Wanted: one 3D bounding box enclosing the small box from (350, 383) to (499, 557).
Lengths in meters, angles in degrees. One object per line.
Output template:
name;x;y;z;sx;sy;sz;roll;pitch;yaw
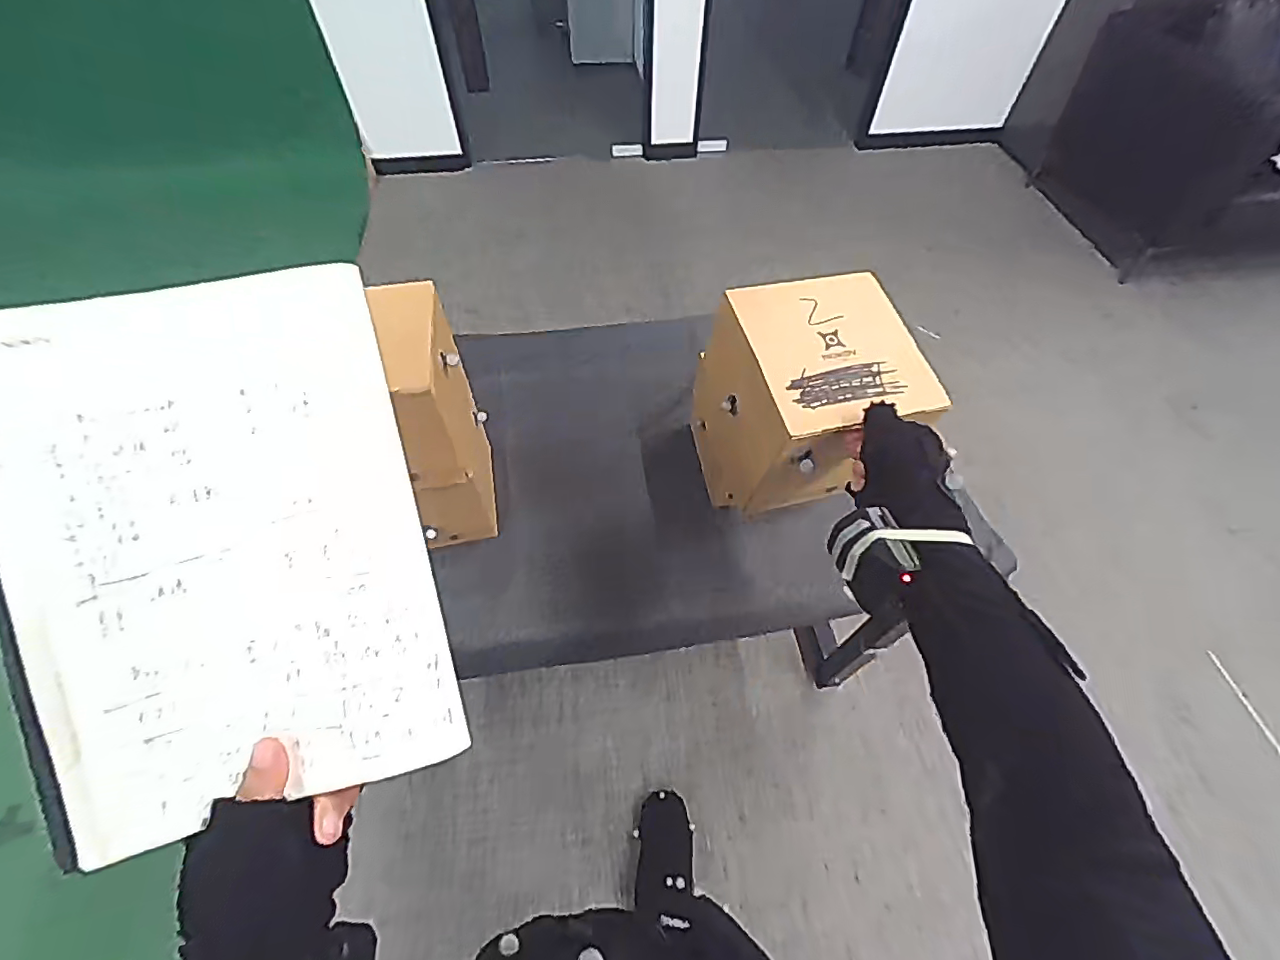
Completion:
small box;-0.305;-0.013;0.780;0.168;0.176;0.179;-10;56;-8

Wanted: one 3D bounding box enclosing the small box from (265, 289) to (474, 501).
small box;-0.300;-0.099;0.642;0.168;0.176;0.179;-9;56;-8

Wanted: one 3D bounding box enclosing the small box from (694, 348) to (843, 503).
small box;0.184;-0.077;0.836;0.168;0.176;0.179;-7;55;-6
